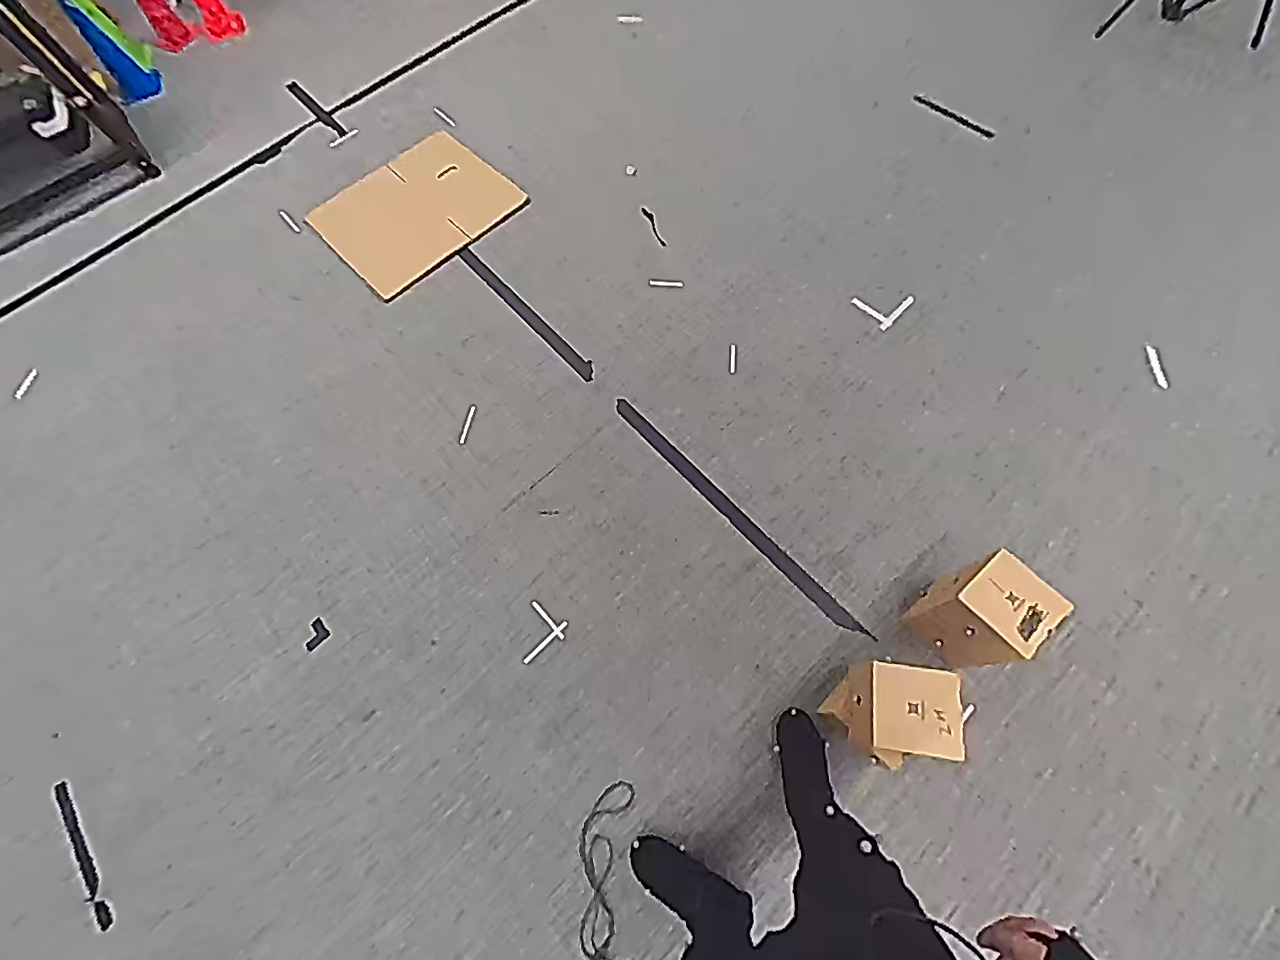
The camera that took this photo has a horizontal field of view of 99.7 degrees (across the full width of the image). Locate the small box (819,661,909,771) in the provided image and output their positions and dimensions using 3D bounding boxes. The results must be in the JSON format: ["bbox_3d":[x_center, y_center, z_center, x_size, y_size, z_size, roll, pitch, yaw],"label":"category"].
[{"bbox_3d":[0.562,0.565,1.303,0.168,0.176,0.179,-44,72,-13],"label":"small box"}]

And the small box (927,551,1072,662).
[{"bbox_3d":[0.797,0.292,1.218,0.168,0.176,0.179,-39,69,-12],"label":"small box"}]

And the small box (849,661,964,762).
[{"bbox_3d":[0.558,0.492,1.156,0.179,0.176,0.168,7,69,6],"label":"small box"}]
